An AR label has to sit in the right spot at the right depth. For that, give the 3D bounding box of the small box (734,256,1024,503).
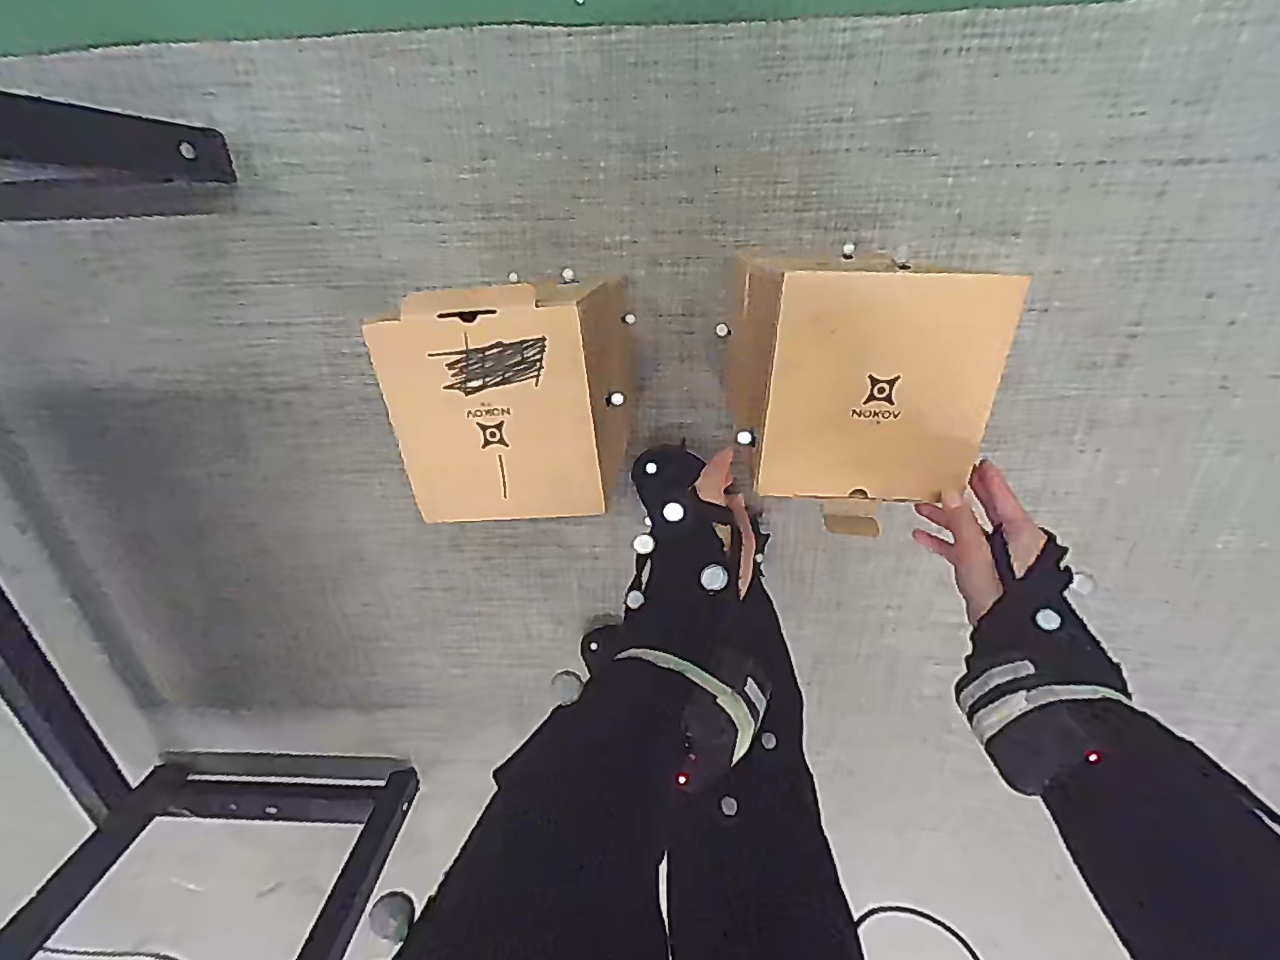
[{"bbox_3d":[0.177,-0.096,0.468,0.168,0.176,0.179,2,116,2],"label":"small box"}]

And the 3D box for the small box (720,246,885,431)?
[{"bbox_3d":[0.183,-0.165,0.616,0.168,0.176,0.179,1,117,2],"label":"small box"}]

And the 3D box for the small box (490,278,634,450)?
[{"bbox_3d":[-0.100,-0.141,0.645,0.168,0.176,0.179,-3,115,6],"label":"small box"}]

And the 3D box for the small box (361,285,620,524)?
[{"bbox_3d":[-0.113,-0.078,0.495,0.168,0.176,0.179,-3,116,6],"label":"small box"}]
